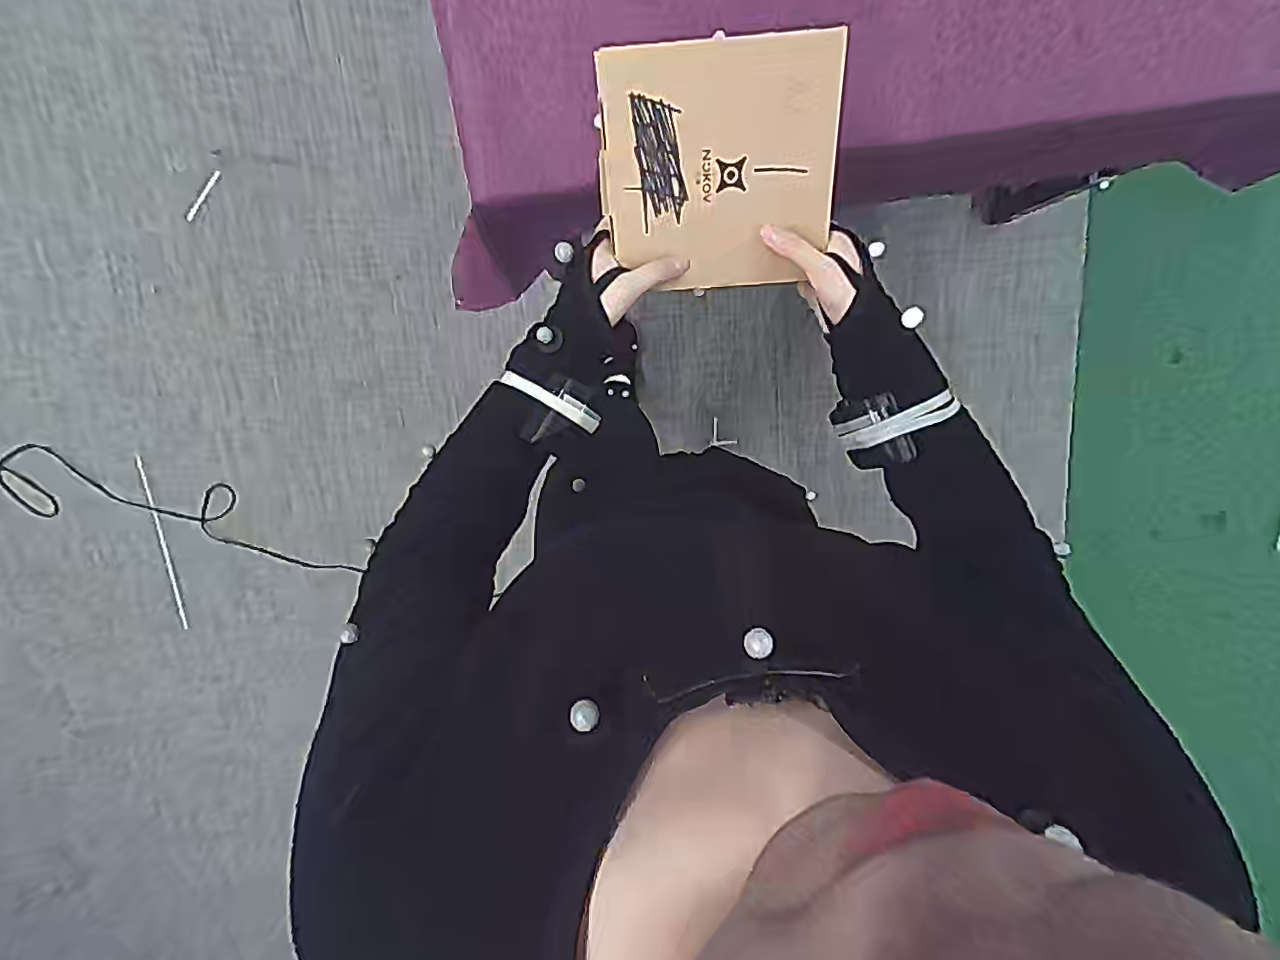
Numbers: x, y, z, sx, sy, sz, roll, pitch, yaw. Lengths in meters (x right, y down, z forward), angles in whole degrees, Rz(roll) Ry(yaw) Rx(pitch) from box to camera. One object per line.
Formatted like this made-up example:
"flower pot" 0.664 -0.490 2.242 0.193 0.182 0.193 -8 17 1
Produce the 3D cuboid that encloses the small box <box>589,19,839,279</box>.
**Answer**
"small box" 0.056 -0.280 0.483 0.179 0.176 0.168 -3 119 2
